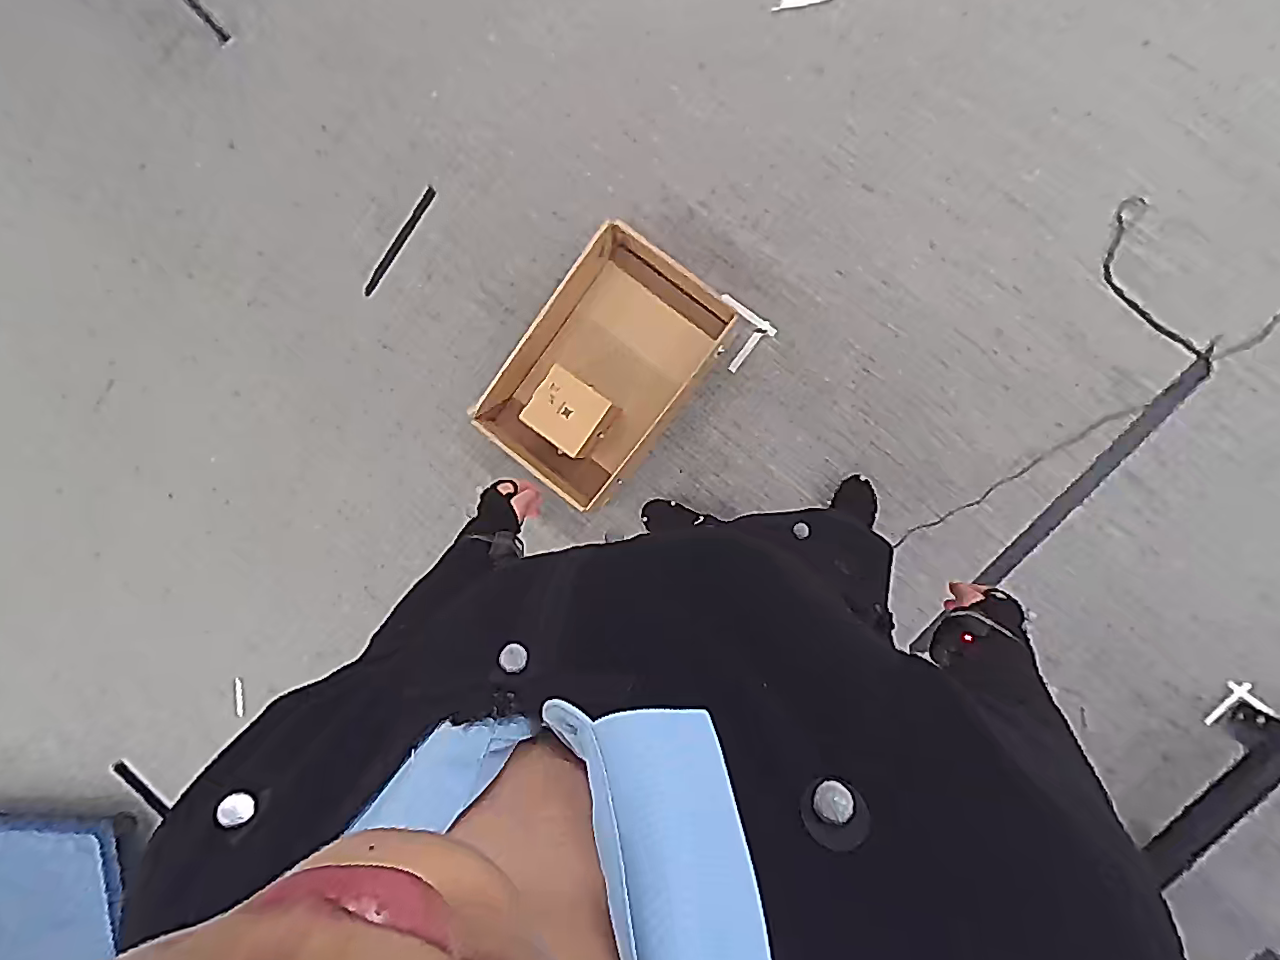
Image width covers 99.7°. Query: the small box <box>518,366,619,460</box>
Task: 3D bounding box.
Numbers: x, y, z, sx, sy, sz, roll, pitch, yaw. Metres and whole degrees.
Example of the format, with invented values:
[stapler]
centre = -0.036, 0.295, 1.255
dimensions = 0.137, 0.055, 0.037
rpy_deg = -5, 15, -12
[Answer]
[small box]
centre = -0.174, -0.168, 1.390
dimensions = 0.179, 0.176, 0.168
rpy_deg = 37, 97, 5
